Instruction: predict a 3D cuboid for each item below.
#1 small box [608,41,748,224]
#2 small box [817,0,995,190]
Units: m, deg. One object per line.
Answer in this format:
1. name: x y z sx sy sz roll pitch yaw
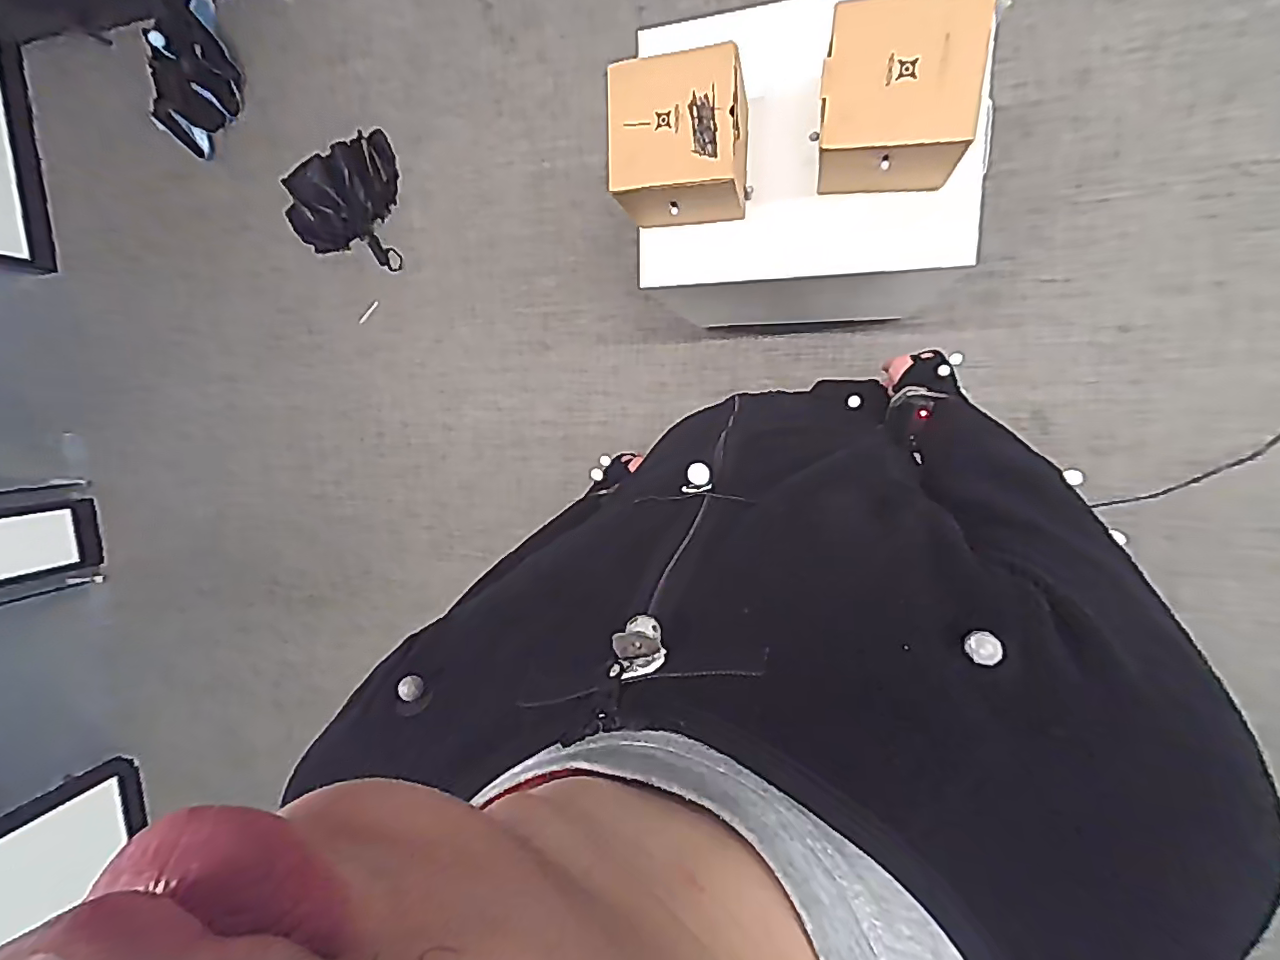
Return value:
1. small box: 0.062 -0.490 0.792 0.179 0.176 0.168 3 99 17
2. small box: 0.333 -0.497 0.711 0.179 0.176 0.168 6 102 16
